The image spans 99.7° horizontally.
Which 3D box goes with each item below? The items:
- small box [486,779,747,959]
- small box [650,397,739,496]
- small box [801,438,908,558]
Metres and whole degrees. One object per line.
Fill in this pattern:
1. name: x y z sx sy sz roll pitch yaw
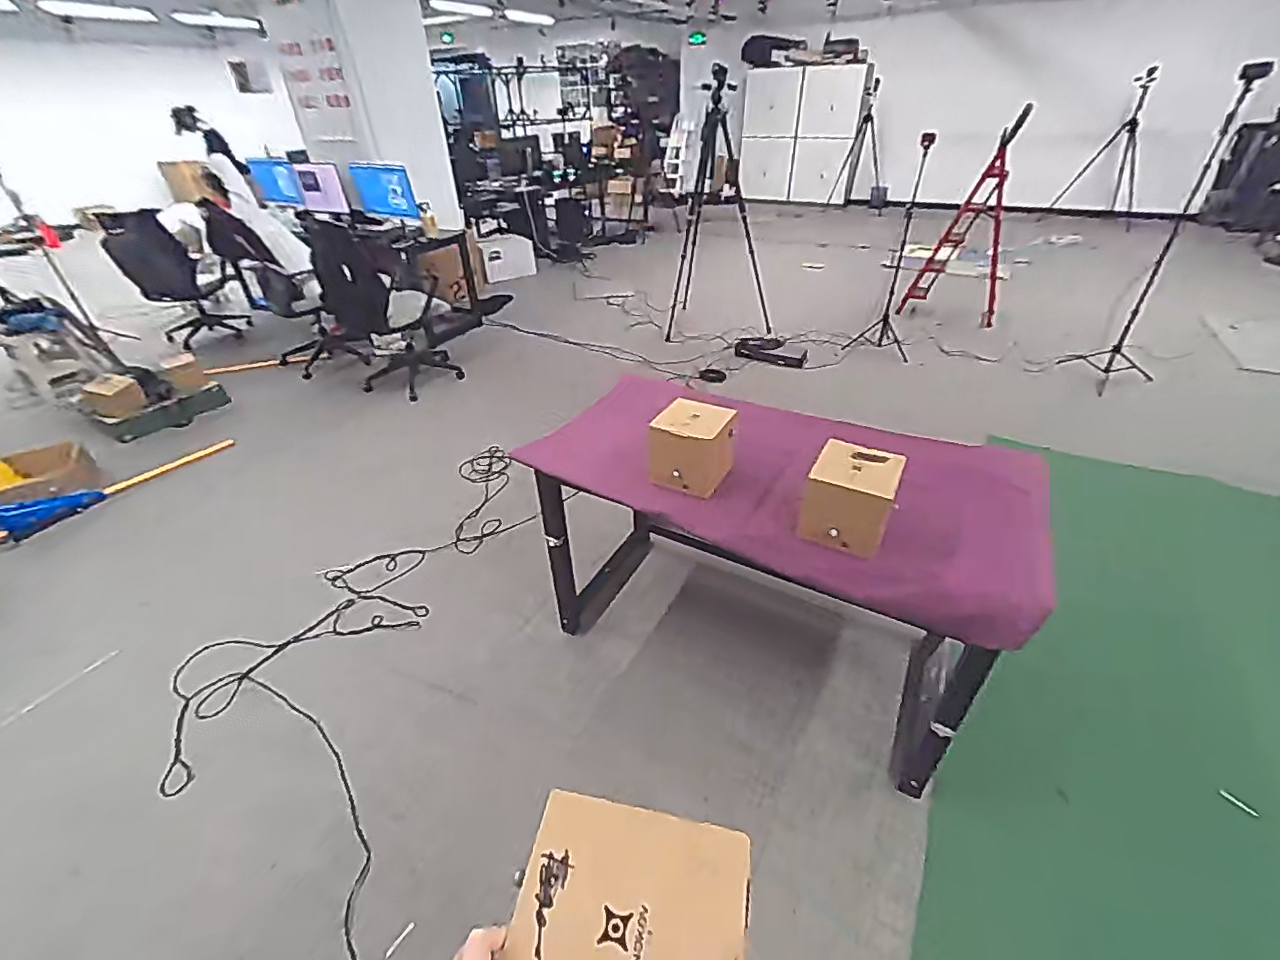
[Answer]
1. small box: -0.015 0.381 0.448 0.179 0.176 0.168 8 44 10
2. small box: 0.135 -0.086 1.360 0.168 0.176 0.179 16 37 25
3. small box: 0.460 0.036 1.171 0.168 0.176 0.179 17 40 26
